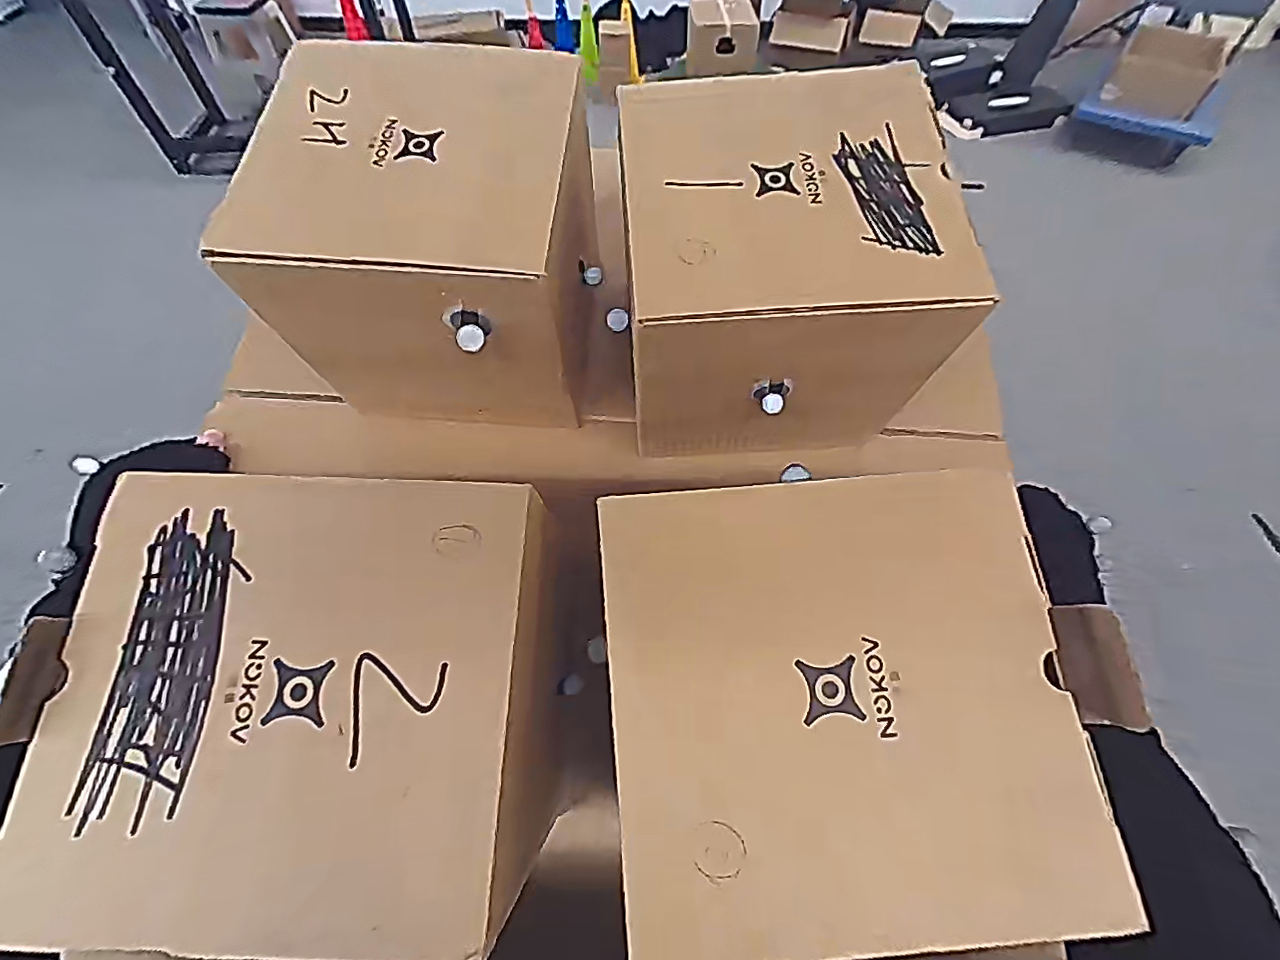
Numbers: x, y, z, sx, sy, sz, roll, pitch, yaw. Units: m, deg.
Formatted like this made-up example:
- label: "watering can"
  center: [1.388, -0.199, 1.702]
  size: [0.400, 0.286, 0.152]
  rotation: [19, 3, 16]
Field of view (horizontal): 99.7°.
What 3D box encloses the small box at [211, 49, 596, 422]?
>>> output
- label: "small box"
  center: [-0.128, -0.152, 0.378]
  size: [0.179, 0.176, 0.168]
  rotation: [5, 69, 2]
